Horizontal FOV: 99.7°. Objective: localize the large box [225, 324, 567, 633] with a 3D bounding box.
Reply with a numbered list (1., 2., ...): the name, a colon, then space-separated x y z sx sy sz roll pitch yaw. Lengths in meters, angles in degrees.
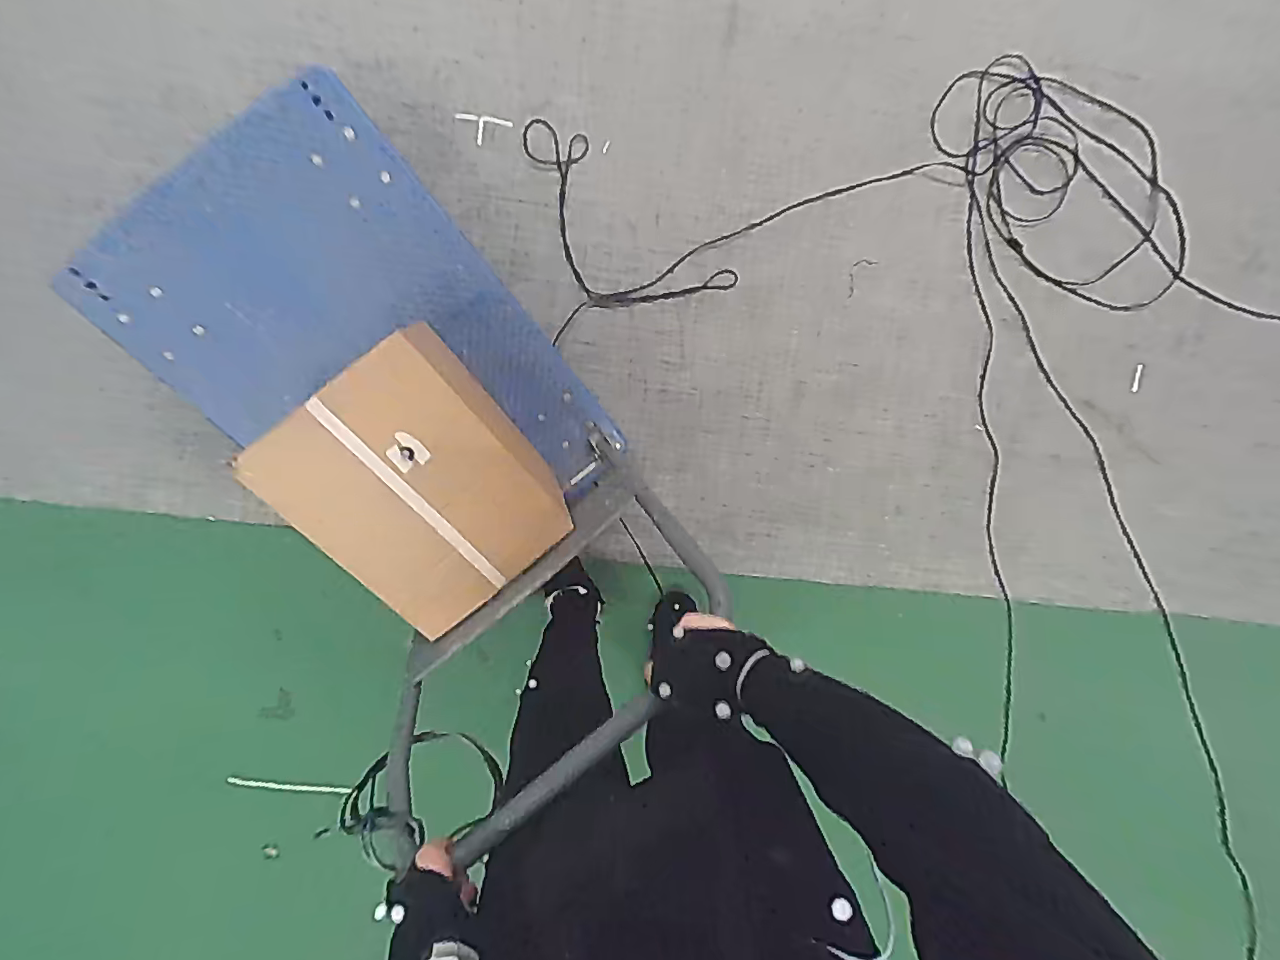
1. large box: -0.386 -0.018 0.968 0.320 0.320 0.408 -38 113 -1
